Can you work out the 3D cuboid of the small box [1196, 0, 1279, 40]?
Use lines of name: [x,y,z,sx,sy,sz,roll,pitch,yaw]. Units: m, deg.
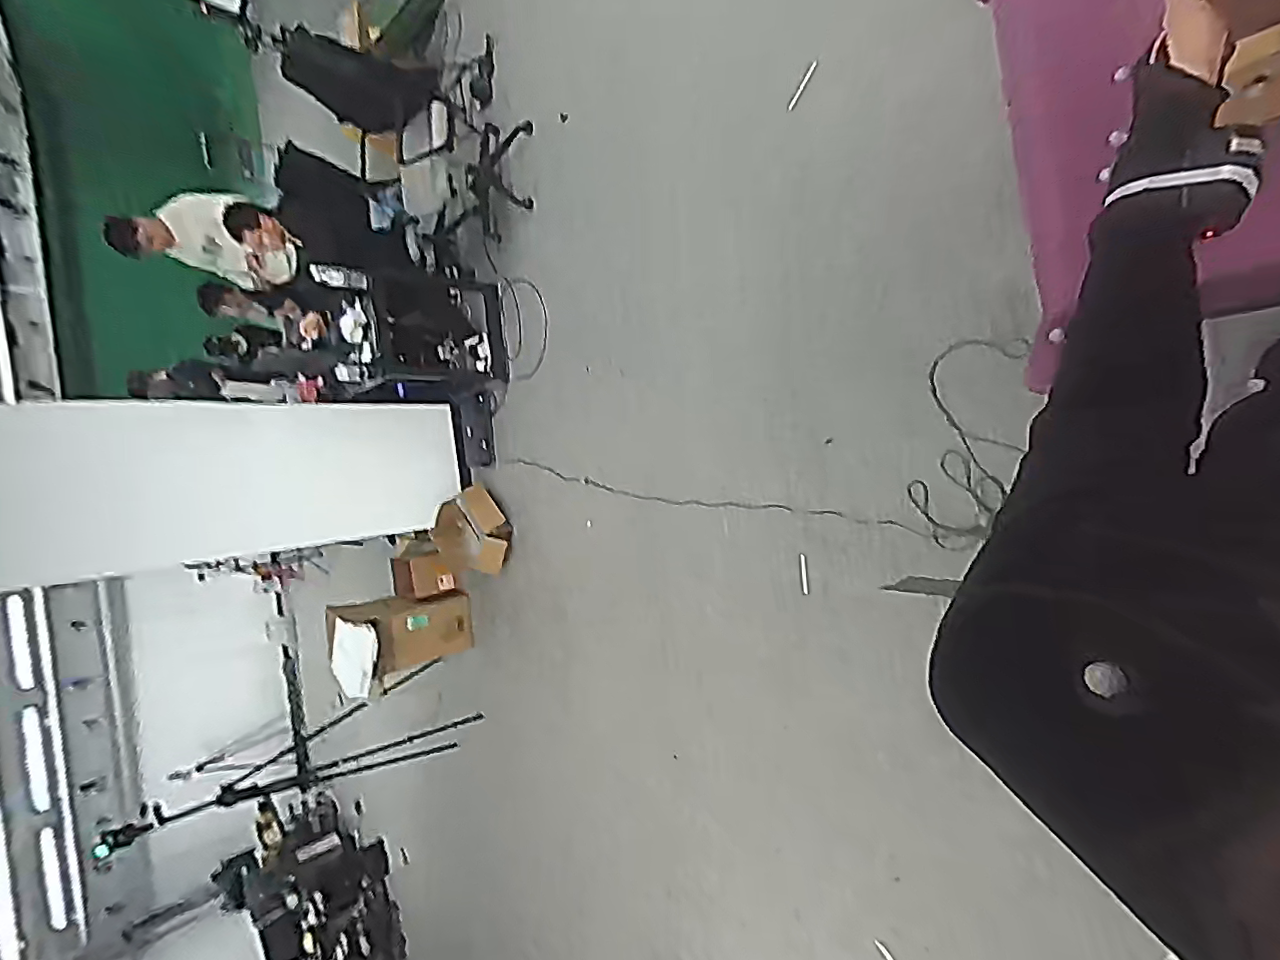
small box: [0.485,-0.441,0.351,0.179,0.176,0.168,-1,102,47]
